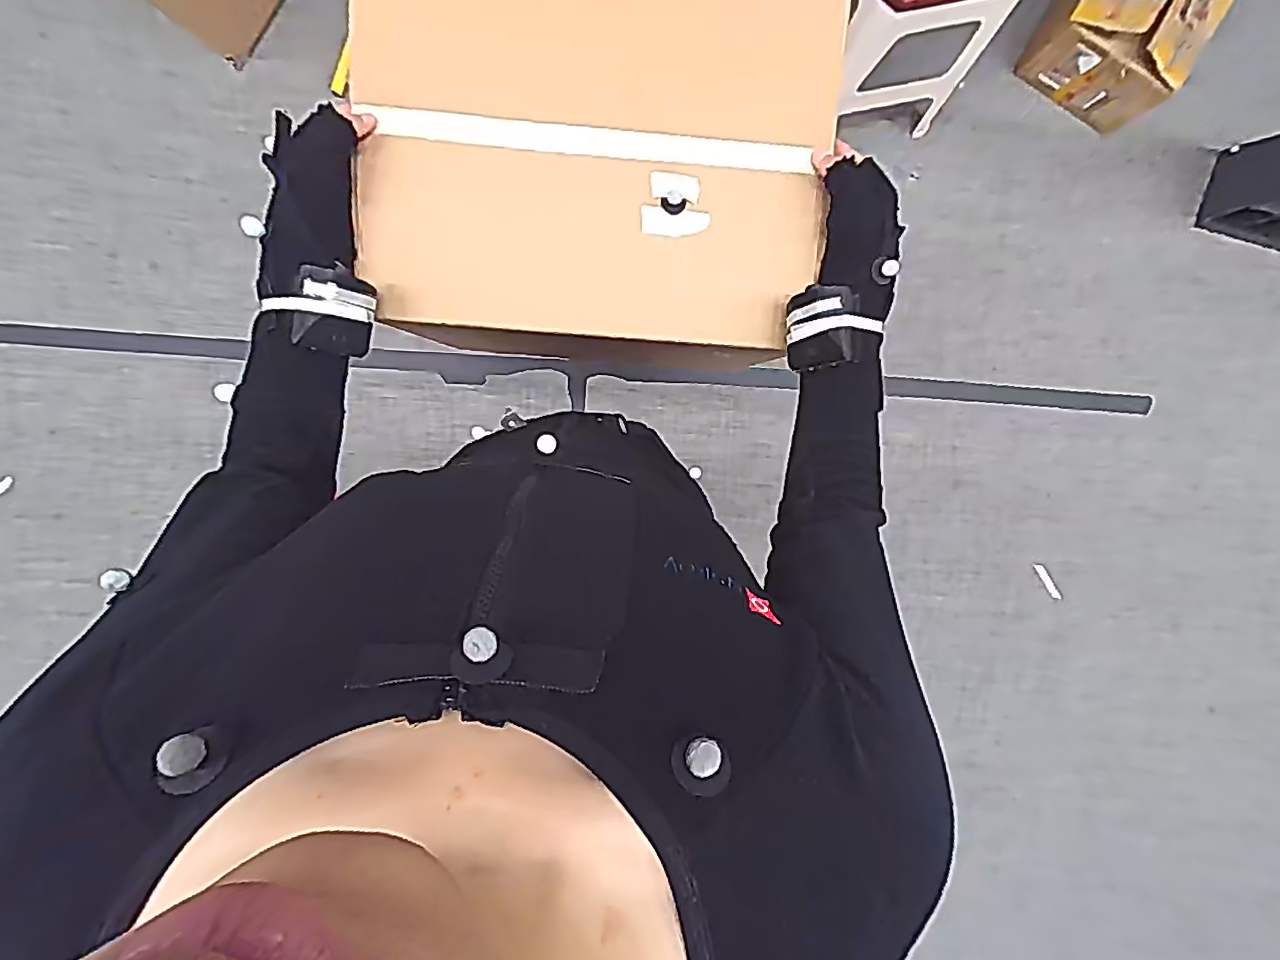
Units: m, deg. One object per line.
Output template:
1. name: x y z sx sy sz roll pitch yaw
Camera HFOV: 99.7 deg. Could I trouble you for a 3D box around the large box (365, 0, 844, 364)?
1. large box: -0.042 -0.307 0.610 0.408 0.320 0.320 3 98 -5
